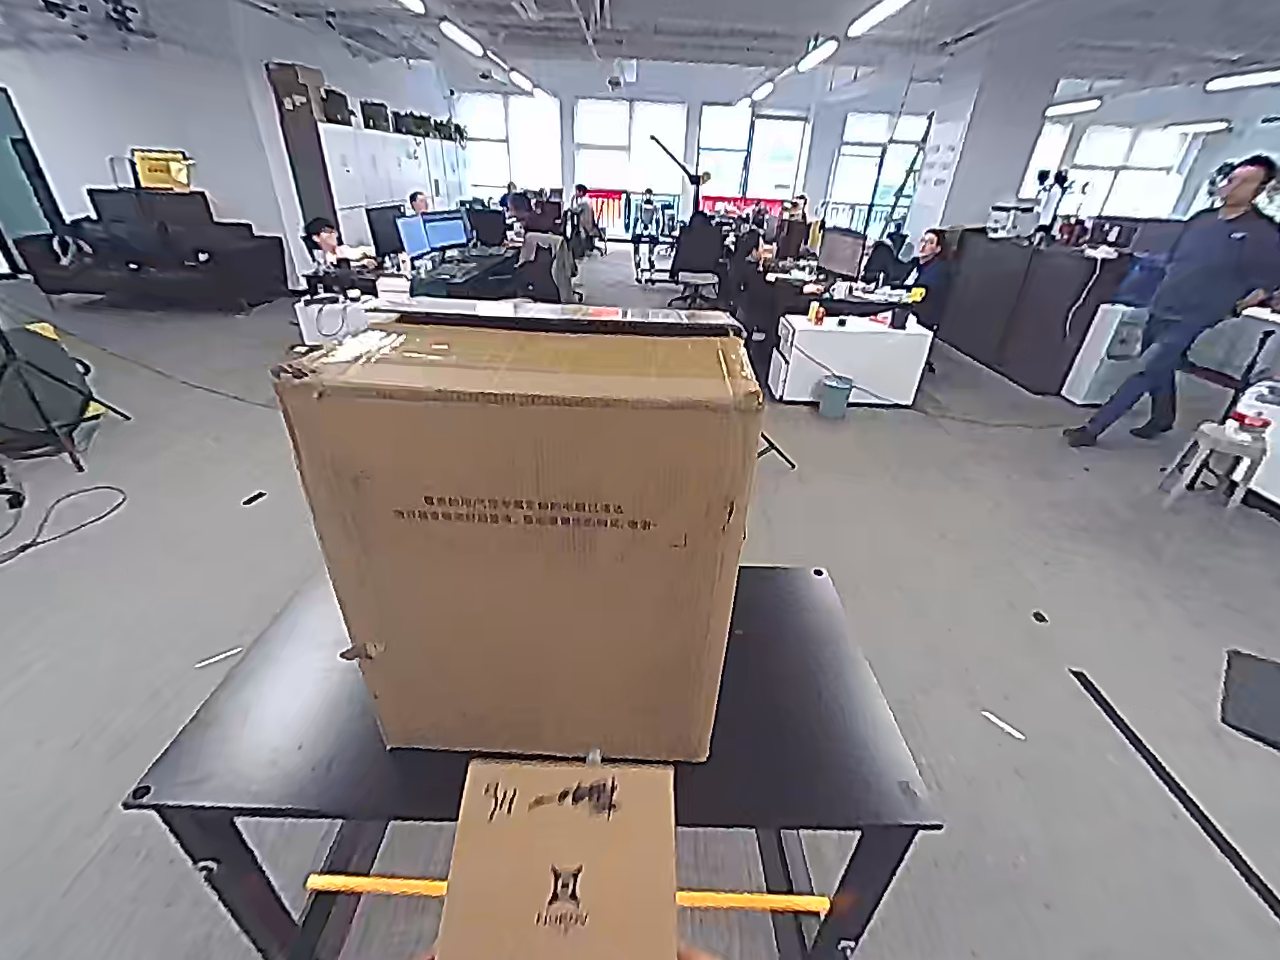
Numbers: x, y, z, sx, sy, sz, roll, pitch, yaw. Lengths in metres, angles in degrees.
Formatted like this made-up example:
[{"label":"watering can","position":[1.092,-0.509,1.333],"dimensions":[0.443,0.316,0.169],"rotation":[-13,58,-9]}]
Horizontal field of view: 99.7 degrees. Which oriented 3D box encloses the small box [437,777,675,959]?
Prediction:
[{"label":"small box","position":[-0.064,0.358,0.449],"dimensions":[0.168,0.176,0.179],"rotation":[4,54,-5]}]
